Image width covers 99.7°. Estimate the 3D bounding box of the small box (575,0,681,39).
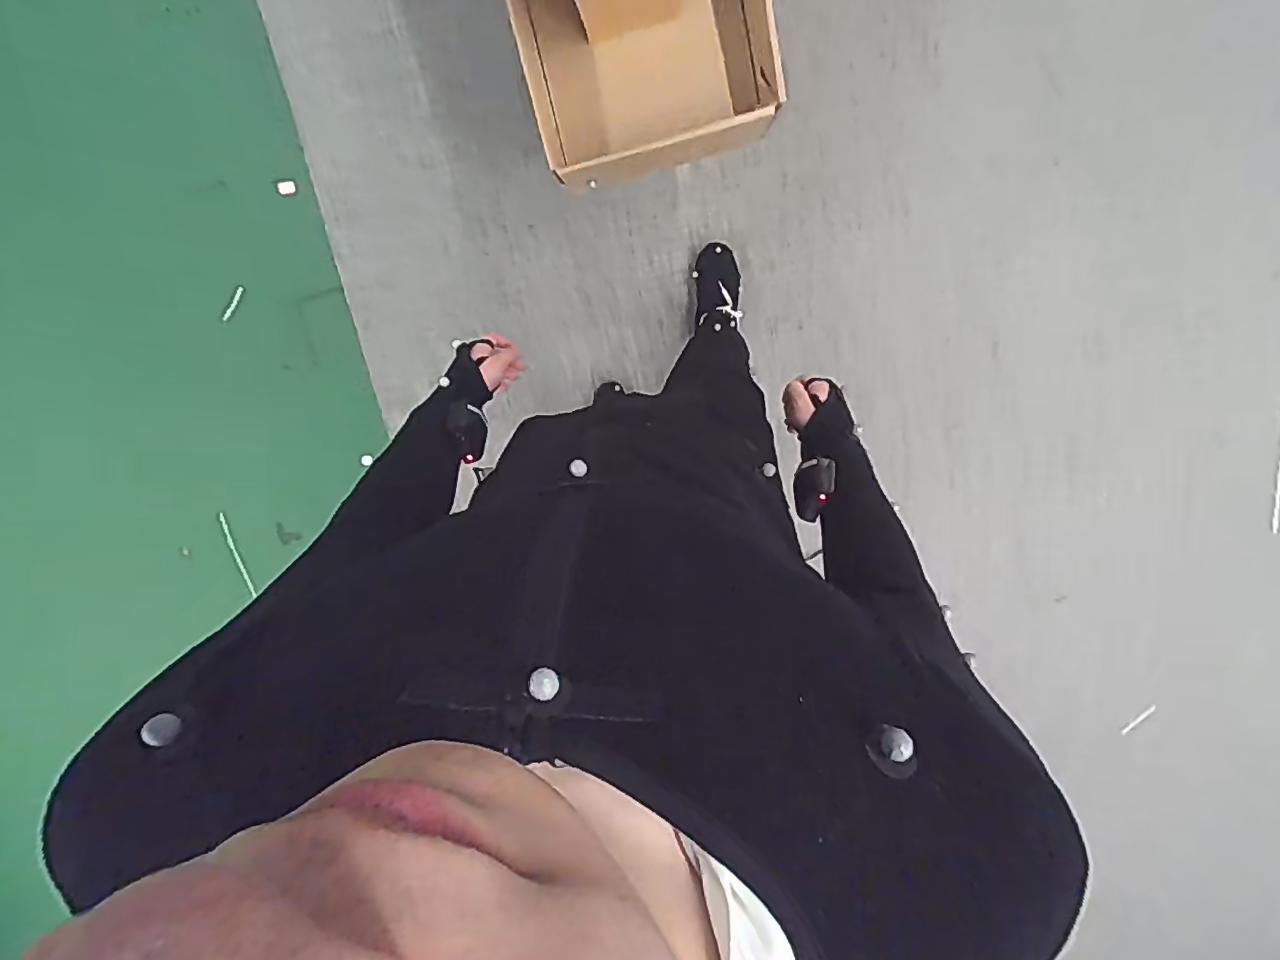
[{"bbox_3d":[-0.034,-0.849,0.856,0.179,0.176,0.168,-12,105,7],"label":"small box"}]
